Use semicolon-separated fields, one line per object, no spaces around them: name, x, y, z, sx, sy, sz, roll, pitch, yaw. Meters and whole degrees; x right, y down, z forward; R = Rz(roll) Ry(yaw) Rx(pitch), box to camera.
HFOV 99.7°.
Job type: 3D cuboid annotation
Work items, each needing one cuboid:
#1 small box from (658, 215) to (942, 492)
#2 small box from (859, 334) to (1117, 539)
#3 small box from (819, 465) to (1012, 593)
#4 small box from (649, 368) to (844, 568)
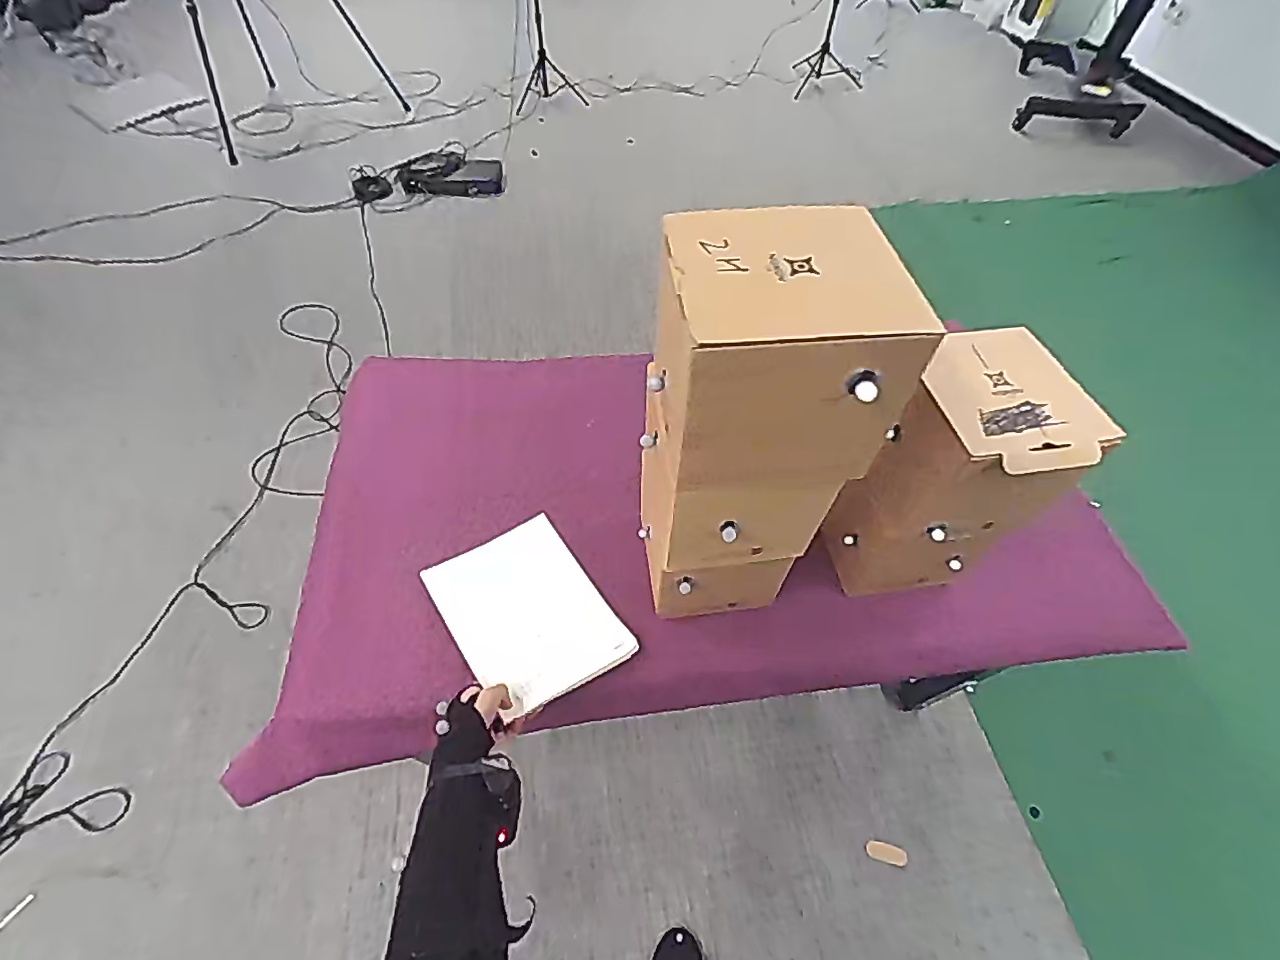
small box;0.112;-0.105;0.470;0.179;0.176;0.168;-4;53;-3
small box;0.375;-0.043;0.633;0.168;0.176;0.179;-6;54;-6
small box;0.367;0.049;0.768;0.168;0.176;0.179;-5;54;-5
small box;0.101;-0.012;0.606;0.168;0.176;0.179;-6;54;-5
